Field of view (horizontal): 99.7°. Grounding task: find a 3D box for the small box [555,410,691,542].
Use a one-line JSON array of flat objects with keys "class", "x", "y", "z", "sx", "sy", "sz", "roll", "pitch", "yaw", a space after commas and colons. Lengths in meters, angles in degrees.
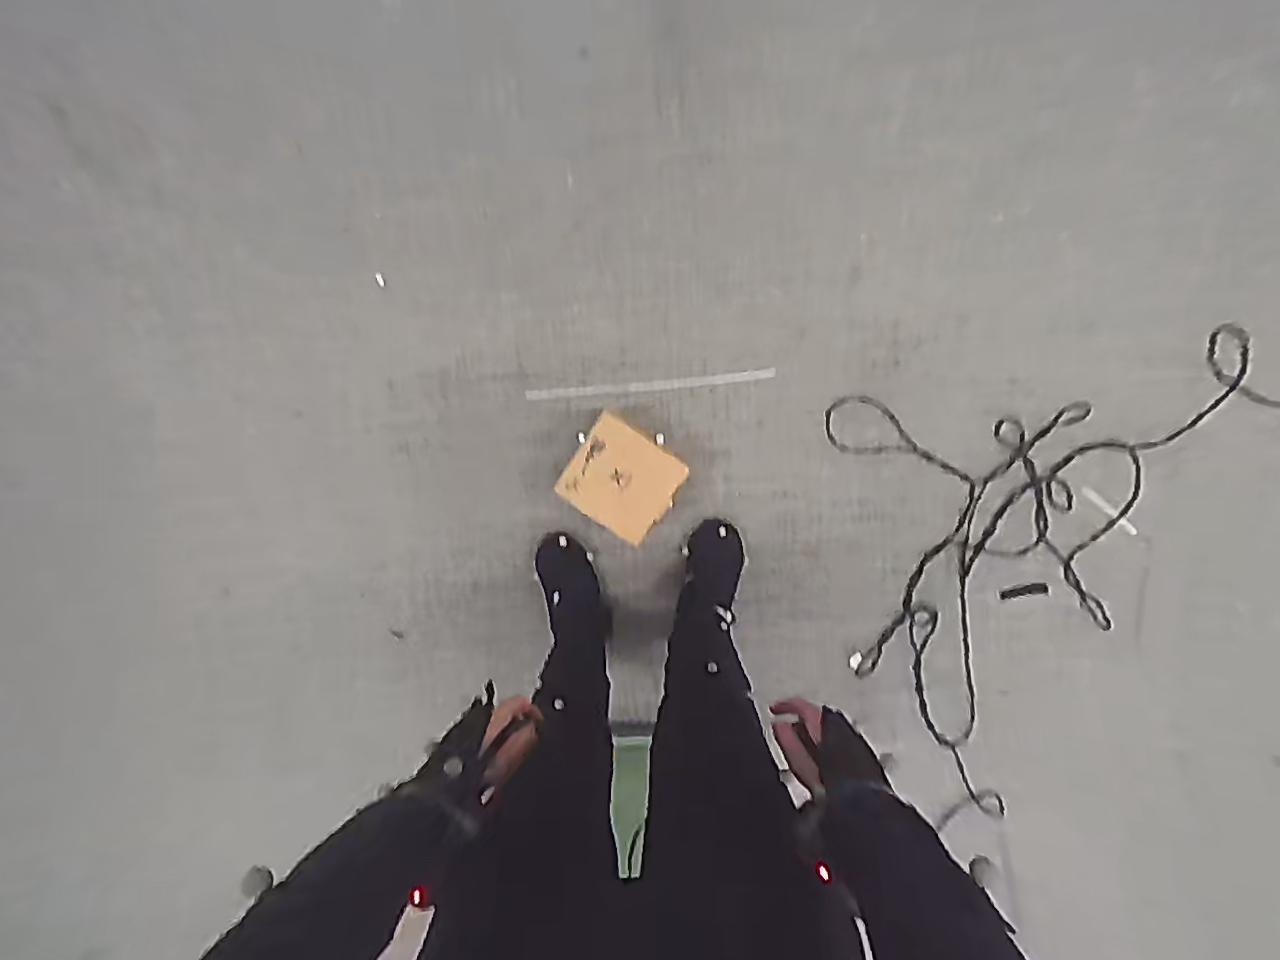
[{"class": "small box", "x": -0.025, "y": -0.019, "z": 0.986, "sx": 0.179, "sy": 0.176, "sz": 0.168, "roll": 34, "pitch": 98, "yaw": -3}]
